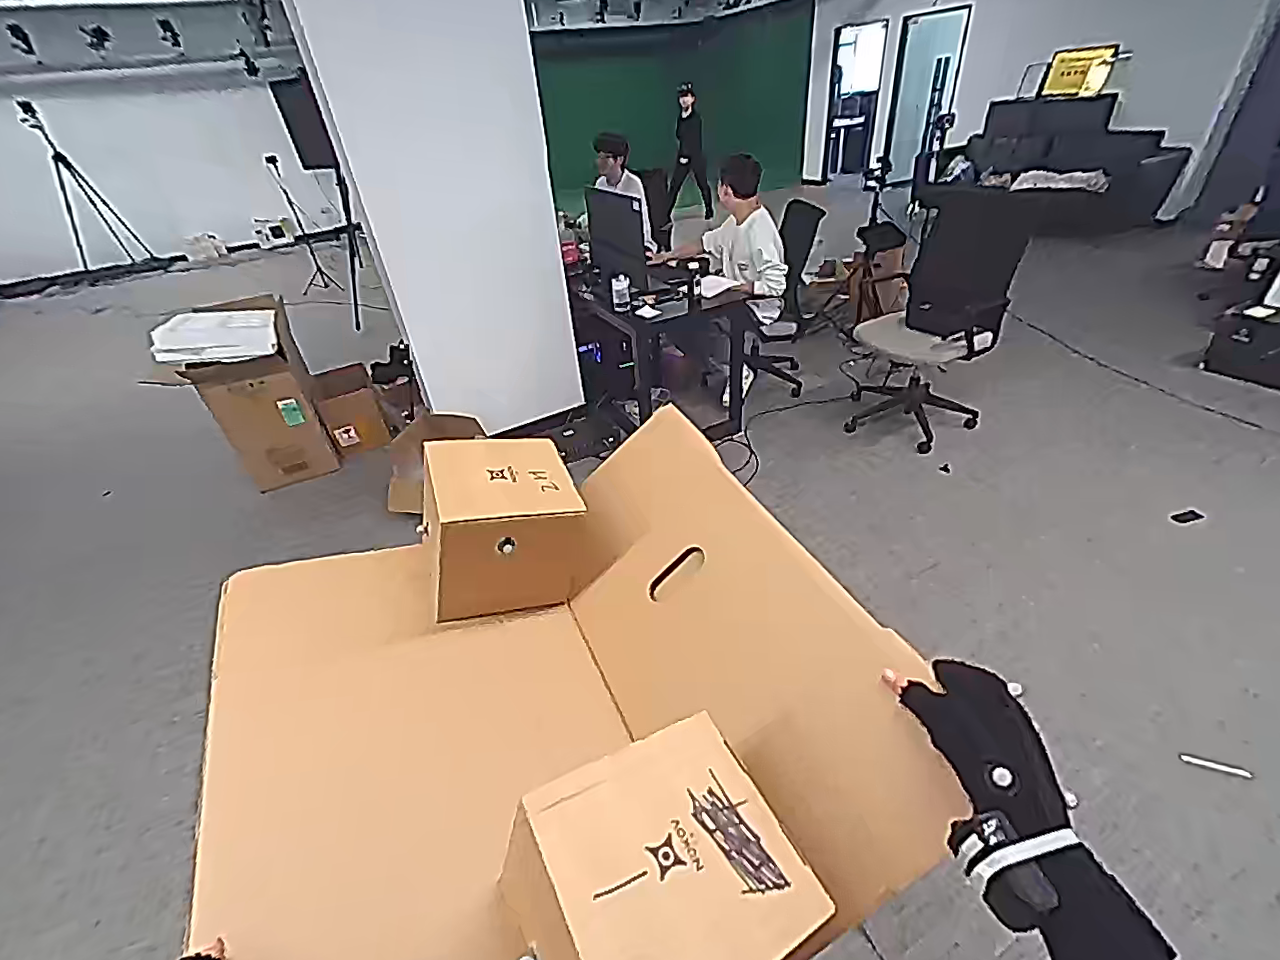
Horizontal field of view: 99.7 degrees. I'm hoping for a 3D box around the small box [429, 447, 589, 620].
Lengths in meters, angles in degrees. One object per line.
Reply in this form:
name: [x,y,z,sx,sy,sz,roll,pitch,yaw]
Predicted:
small box: [-0.186,0.070,0.731,0.179,0.176,0.168,-2,38,-26]
